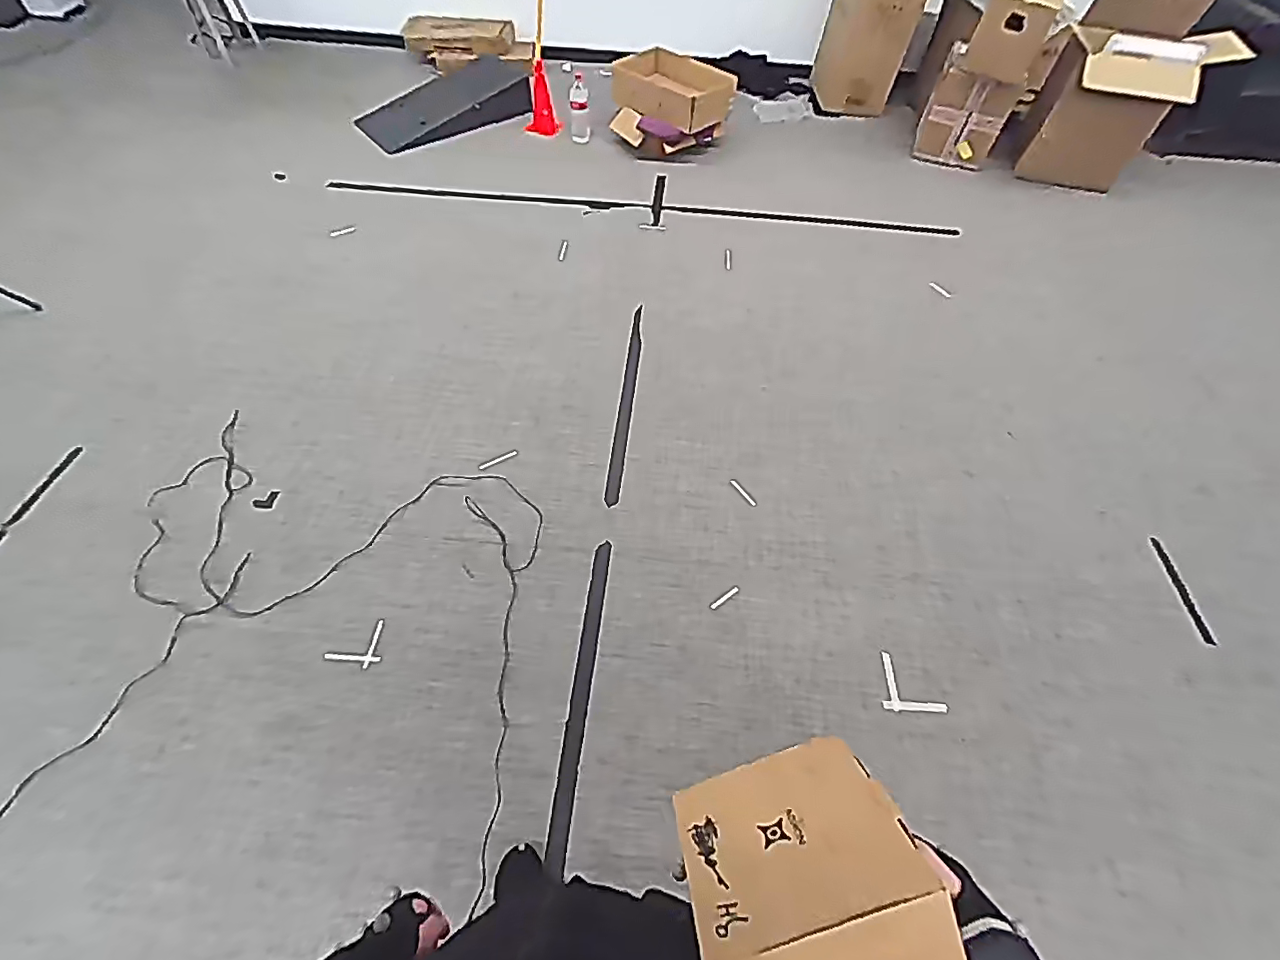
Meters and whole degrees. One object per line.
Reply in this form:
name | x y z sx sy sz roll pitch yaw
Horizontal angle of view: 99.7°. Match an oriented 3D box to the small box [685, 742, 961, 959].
small box | 0.154 0.375 0.470 0.179 0.168 0.176 -19 99 -1
